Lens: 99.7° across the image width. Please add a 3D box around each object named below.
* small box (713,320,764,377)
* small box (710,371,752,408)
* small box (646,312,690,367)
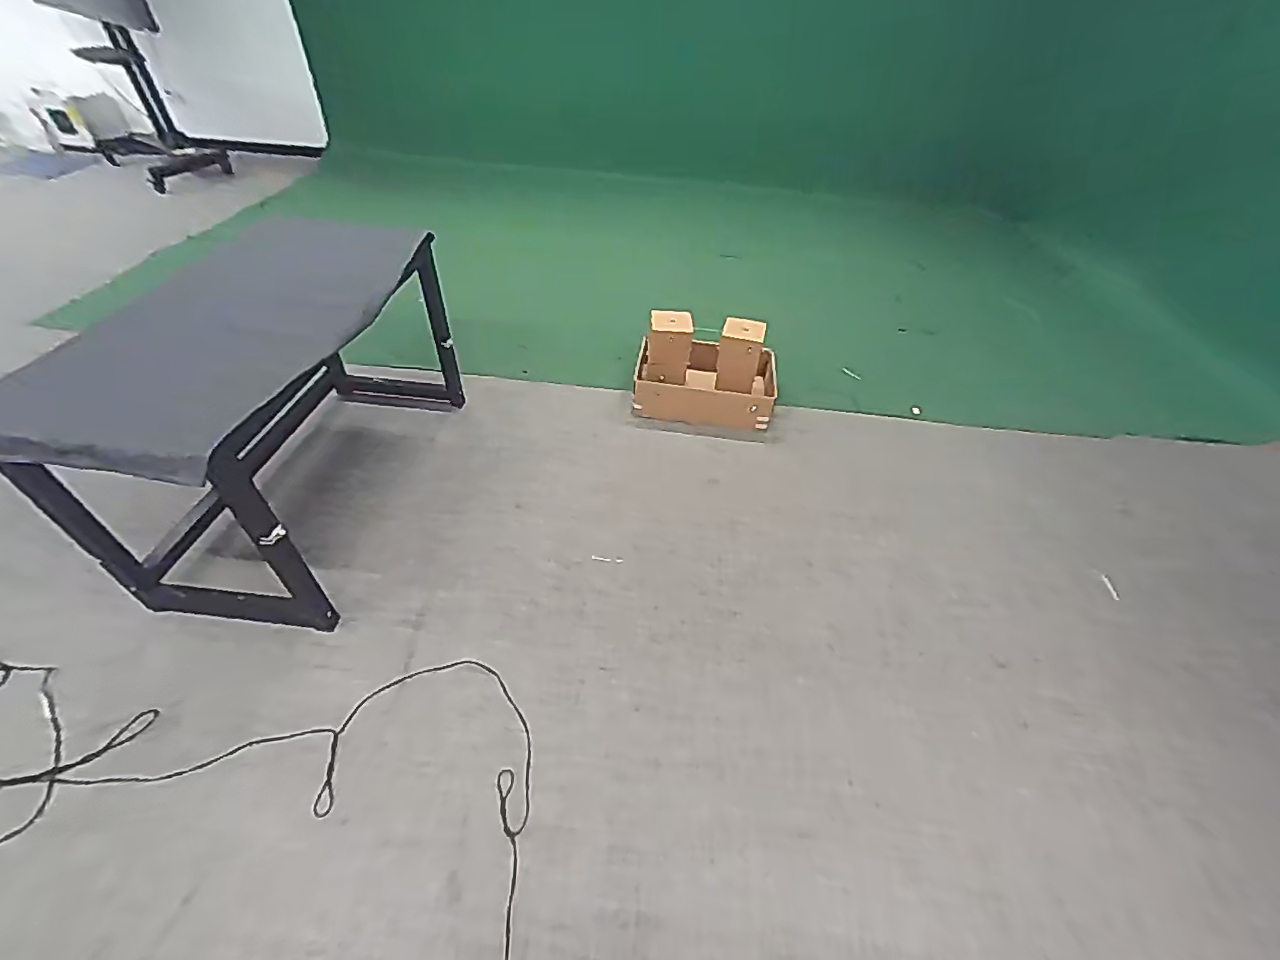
[{"bbox_3d":[0.426,-0.566,2.341,0.179,0.176,0.168,12,45,9],"label":"small box"},{"bbox_3d":[0.417,-0.454,2.461,0.168,0.176,0.179,12,47,8],"label":"small box"},{"bbox_3d":[0.116,-0.610,2.355,0.179,0.176,0.168,3,46,-5],"label":"small box"}]
